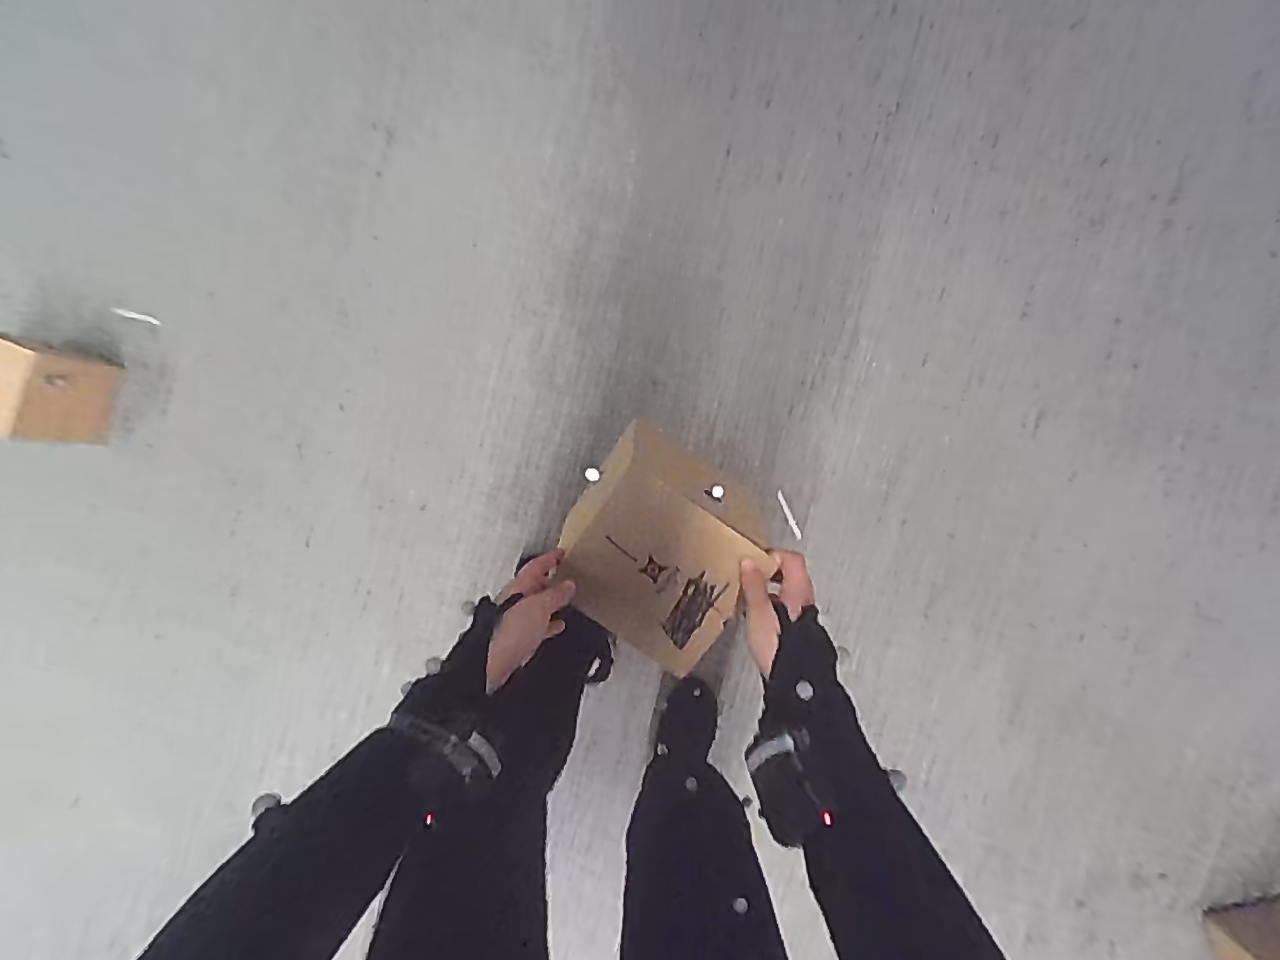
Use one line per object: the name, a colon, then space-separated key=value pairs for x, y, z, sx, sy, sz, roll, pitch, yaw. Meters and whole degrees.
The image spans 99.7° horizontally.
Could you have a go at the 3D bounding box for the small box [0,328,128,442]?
small box: x=-1.188 y=-0.186 z=1.077 sx=0.168 sy=0.176 sz=0.179 roll=21 pitch=92 yaw=4
